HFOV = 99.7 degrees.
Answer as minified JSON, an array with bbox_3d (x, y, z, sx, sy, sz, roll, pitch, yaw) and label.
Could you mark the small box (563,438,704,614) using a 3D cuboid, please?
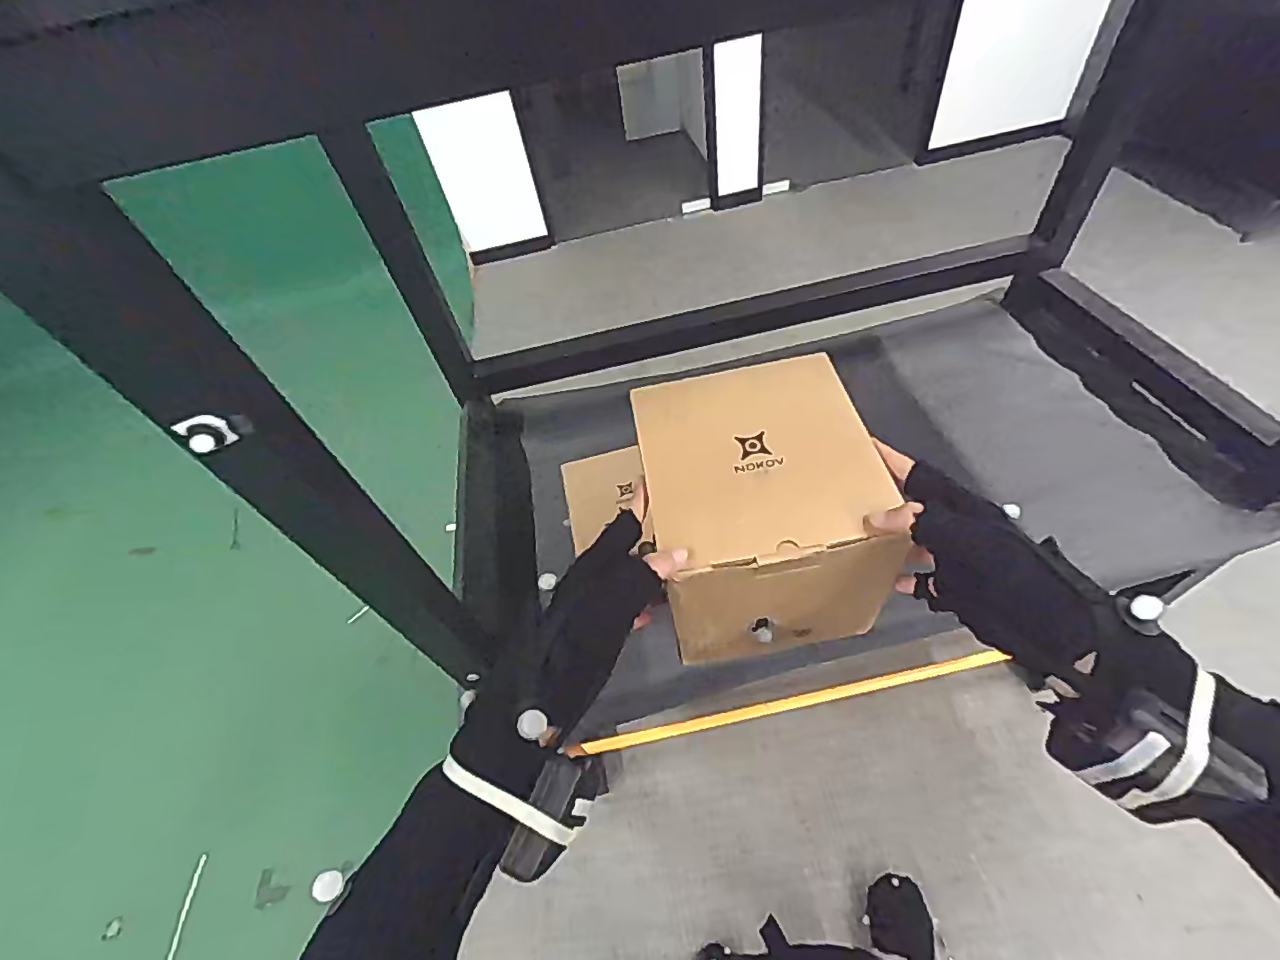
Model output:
[{"bbox_3d":[-0.008,0.070,0.799,0.168,0.176,0.179,-15,50,-2],"label":"small box"}]
